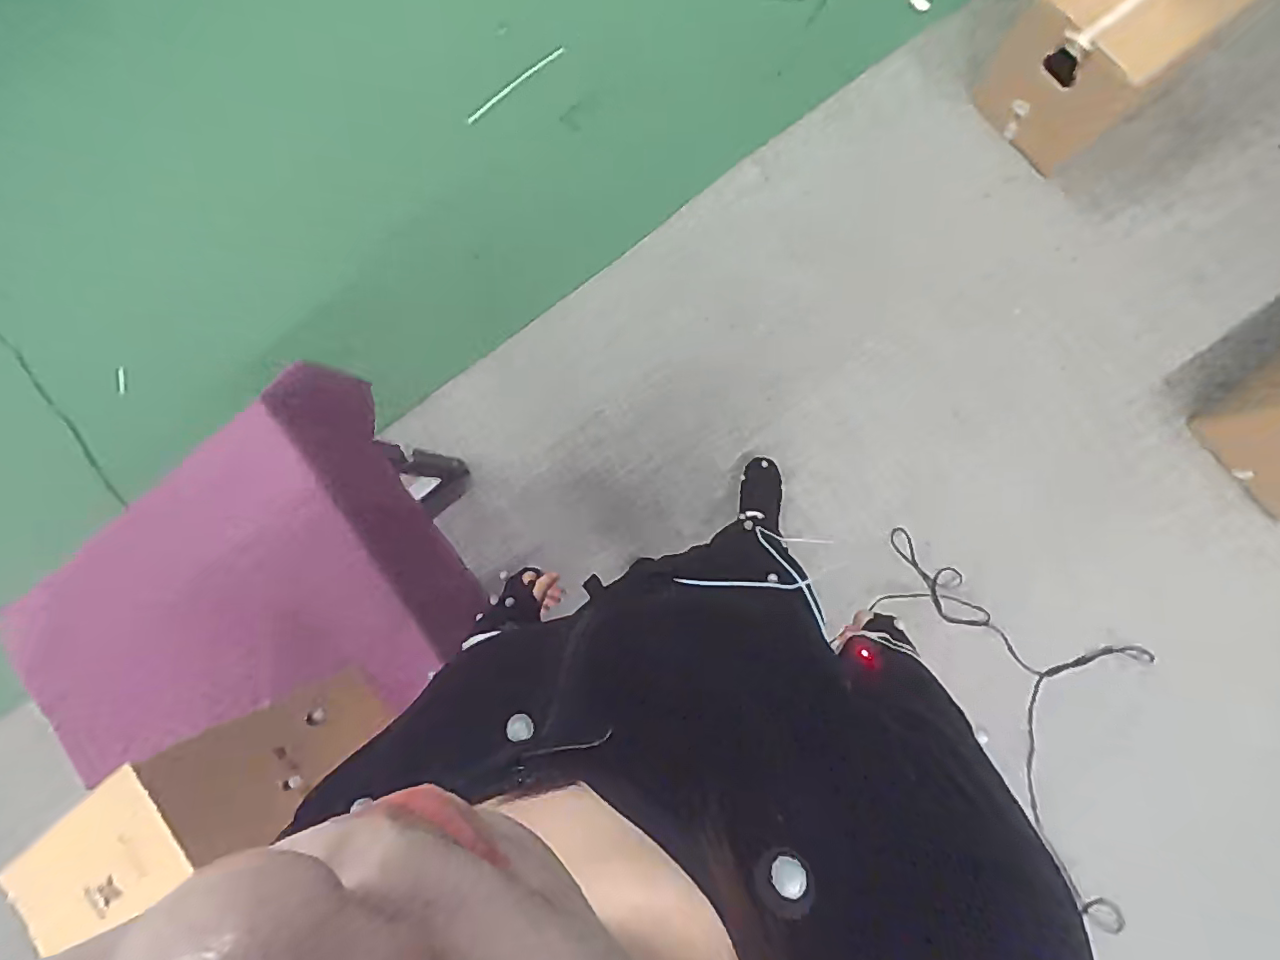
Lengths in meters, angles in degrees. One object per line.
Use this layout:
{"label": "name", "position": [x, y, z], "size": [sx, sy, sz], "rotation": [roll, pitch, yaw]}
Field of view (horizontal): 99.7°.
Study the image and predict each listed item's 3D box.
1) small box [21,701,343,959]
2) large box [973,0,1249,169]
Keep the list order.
{"label": "small box", "position": [-0.475, 0.379, 0.588], "size": [0.179, 0.176, 0.168], "rotation": [-40, 83, 3]}
{"label": "large box", "position": [1.130, -1.070, 1.303], "size": [0.408, 0.320, 0.320], "rotation": [-37, 82, 3]}
